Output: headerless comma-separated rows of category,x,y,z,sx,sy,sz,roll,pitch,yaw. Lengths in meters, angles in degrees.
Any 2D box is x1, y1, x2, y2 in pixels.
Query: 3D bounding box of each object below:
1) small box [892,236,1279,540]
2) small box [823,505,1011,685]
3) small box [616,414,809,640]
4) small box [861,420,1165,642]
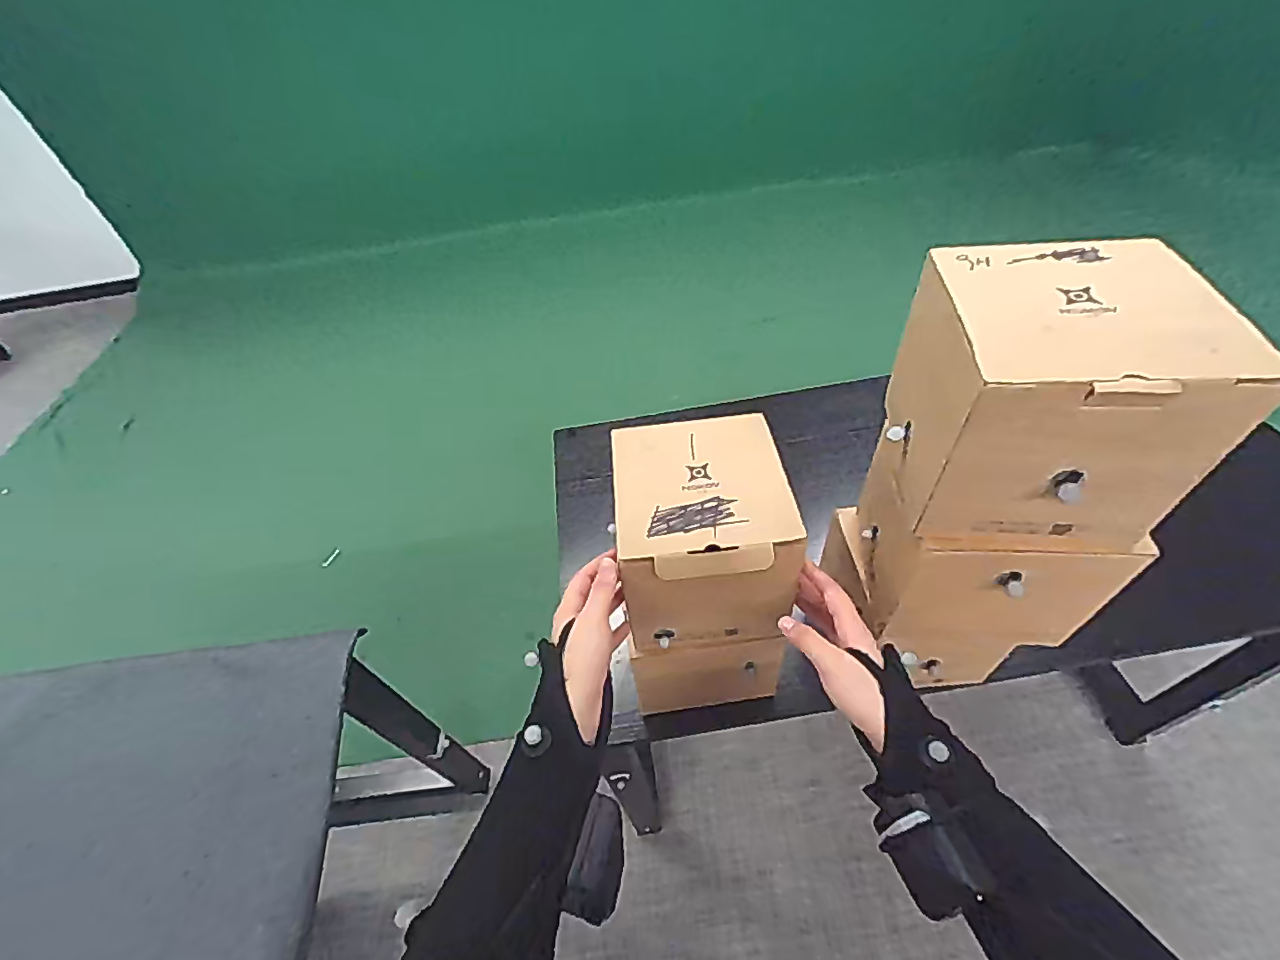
small box,0.315,-0.067,0.431,0.168,0.176,0.179,2,50,10
small box,0.341,0.144,0.677,0.168,0.176,0.179,-6,48,2
small box,0.068,0.056,0.573,0.168,0.176,0.179,-6,47,1
small box,0.340,0.051,0.542,0.179,0.176,0.168,0,49,8
